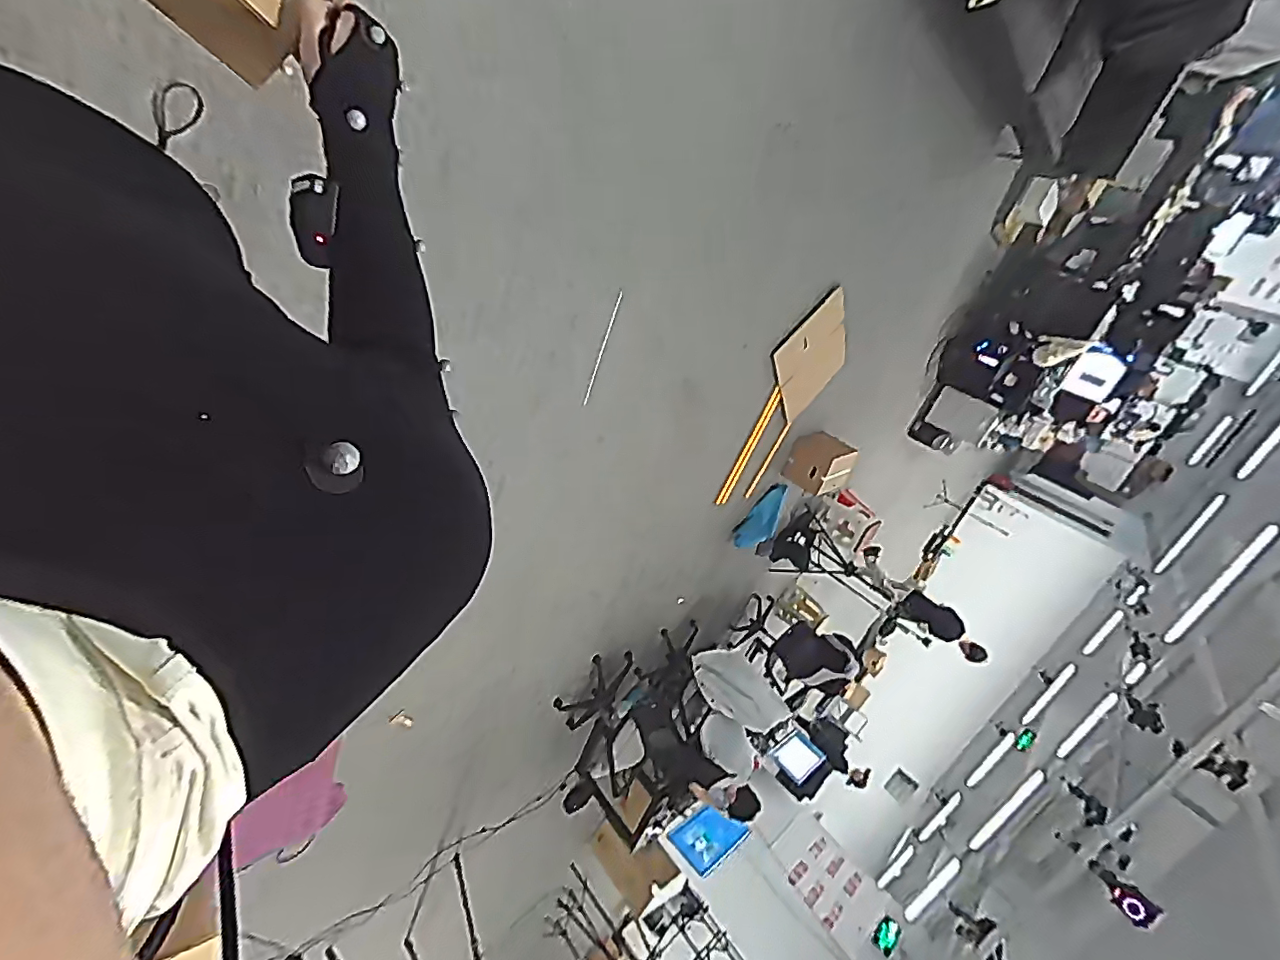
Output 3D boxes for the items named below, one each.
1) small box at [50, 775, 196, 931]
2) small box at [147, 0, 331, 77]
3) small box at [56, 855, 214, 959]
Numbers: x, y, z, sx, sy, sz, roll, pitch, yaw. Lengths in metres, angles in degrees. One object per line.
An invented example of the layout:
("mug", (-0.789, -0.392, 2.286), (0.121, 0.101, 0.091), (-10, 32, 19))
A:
("small box", (-0.896, 0.662, 0.937), (0.168, 0.176, 0.179), (-4, 123, -49))
("small box", (-0.380, -0.512, 0.491), (0.179, 0.176, 0.168), (35, 79, -45))
("small box", (-0.790, 0.746, 0.847), (0.168, 0.176, 0.179), (-5, 123, -47))
